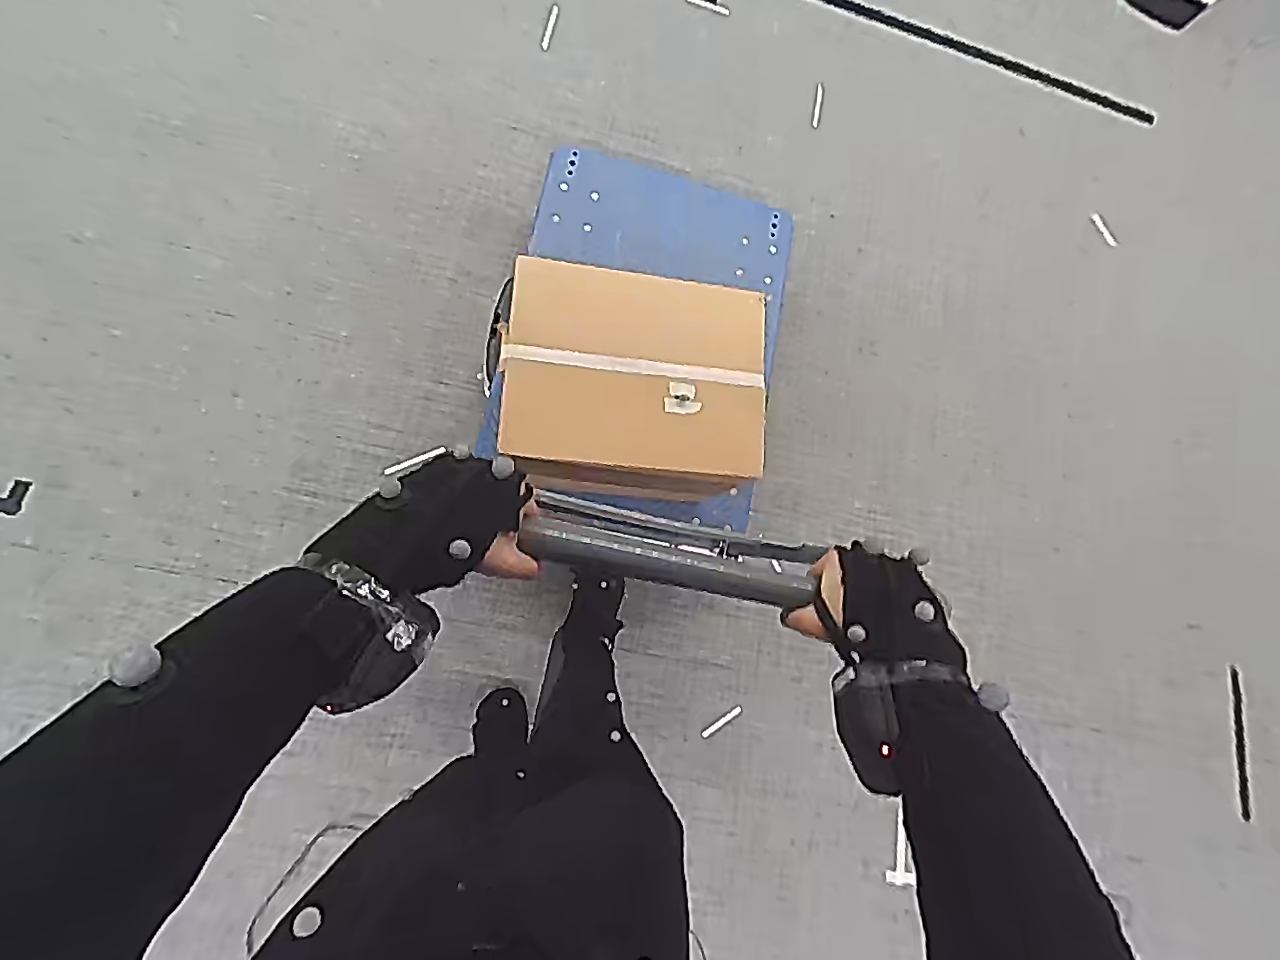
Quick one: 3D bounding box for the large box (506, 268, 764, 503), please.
[{"bbox_3d":[-0.026,-0.139,0.984,0.408,0.320,0.320,5,81,-11],"label":"large box"}]
